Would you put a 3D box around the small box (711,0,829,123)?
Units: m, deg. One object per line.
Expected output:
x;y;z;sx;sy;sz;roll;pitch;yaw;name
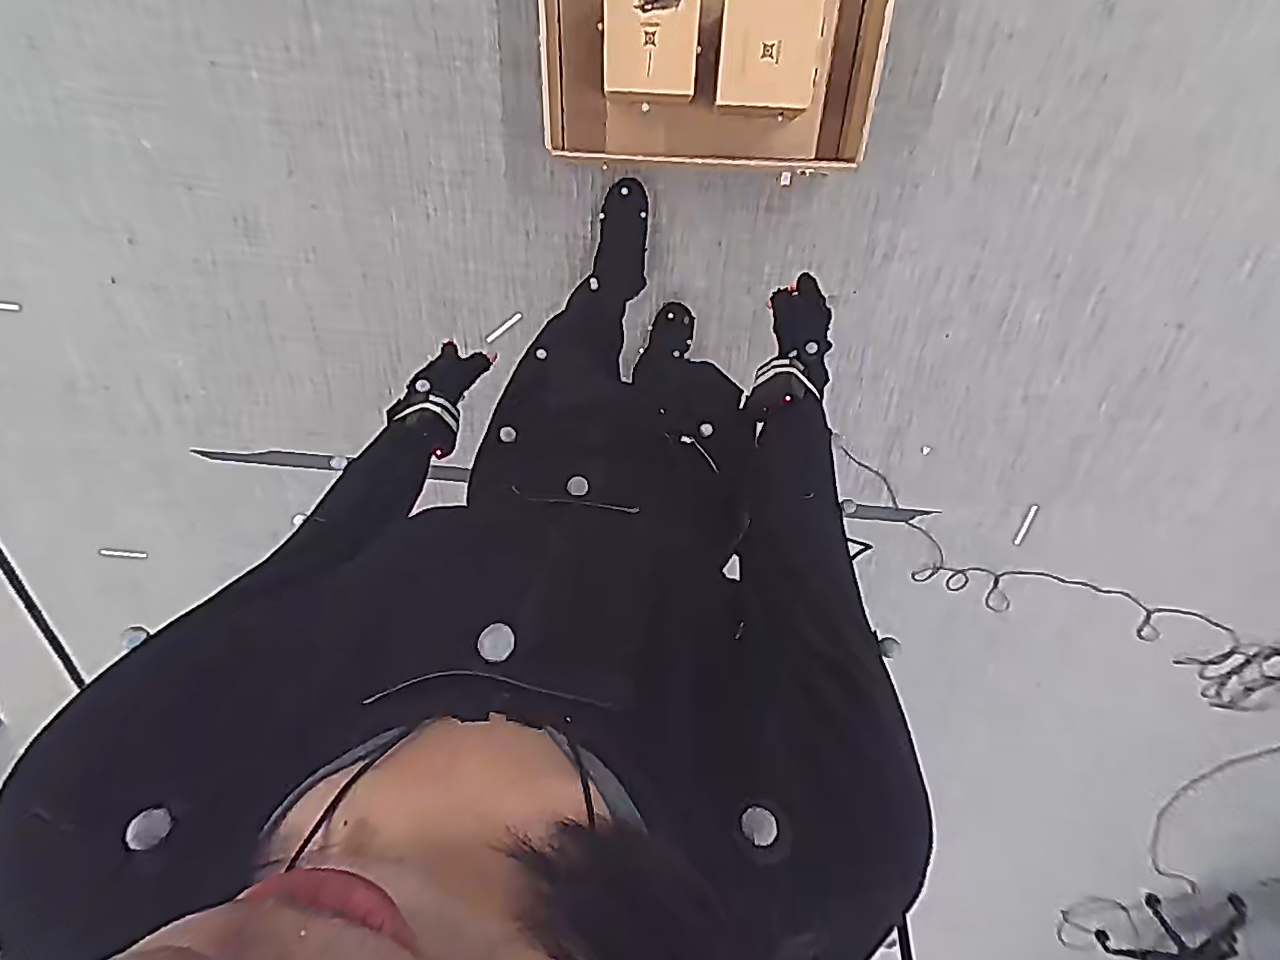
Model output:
0.234;-0.786;1.023;0.179;0.176;0.168;4;118;2;small box
